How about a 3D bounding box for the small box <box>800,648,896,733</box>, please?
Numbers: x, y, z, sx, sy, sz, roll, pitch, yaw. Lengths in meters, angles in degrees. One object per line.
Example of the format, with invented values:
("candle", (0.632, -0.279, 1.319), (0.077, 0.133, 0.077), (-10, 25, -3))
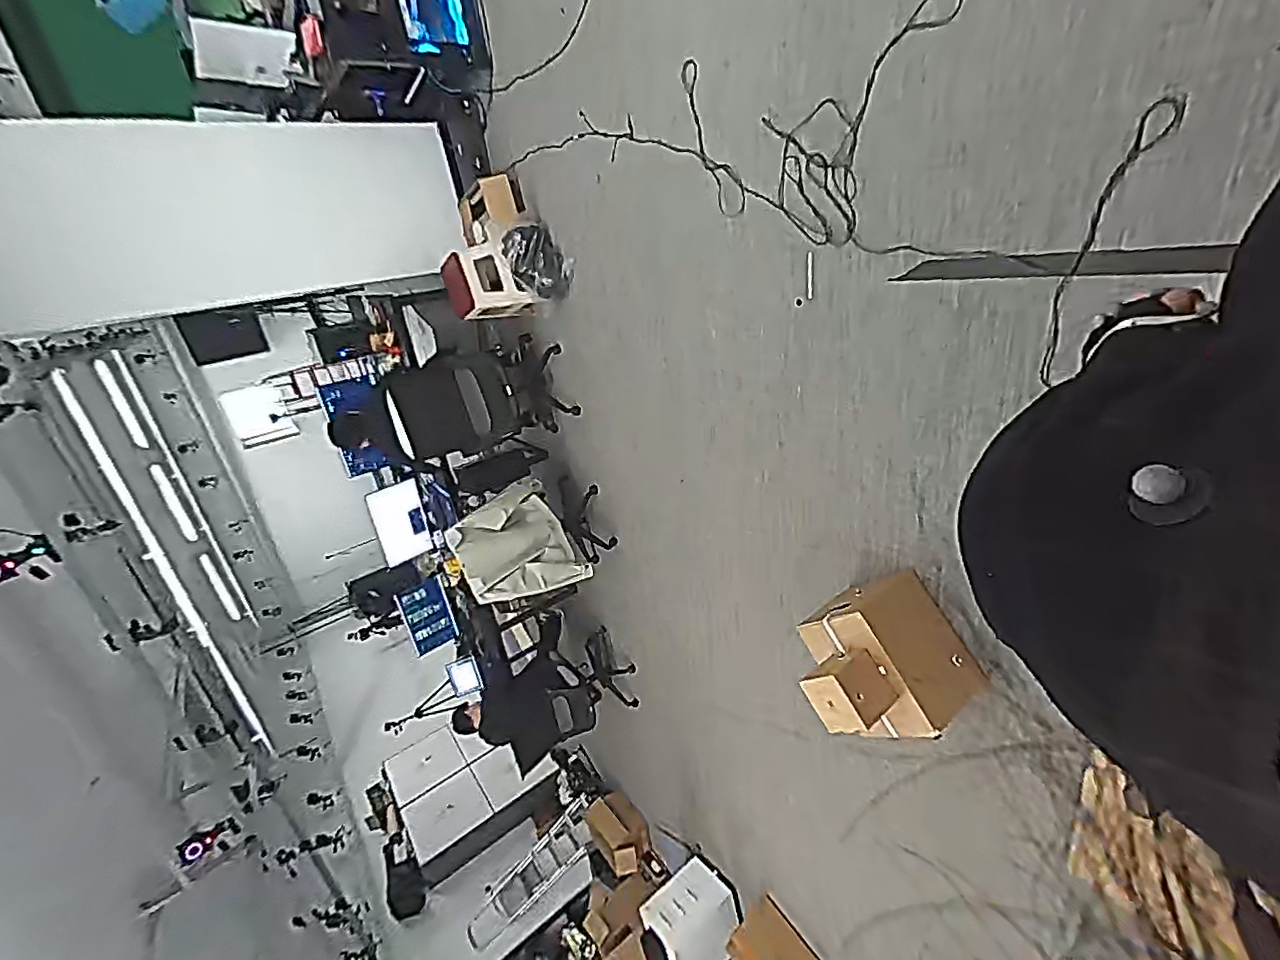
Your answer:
("small box", (0.634, 0.640, 1.642), (0.179, 0.176, 0.168), (60, 147, 13))
